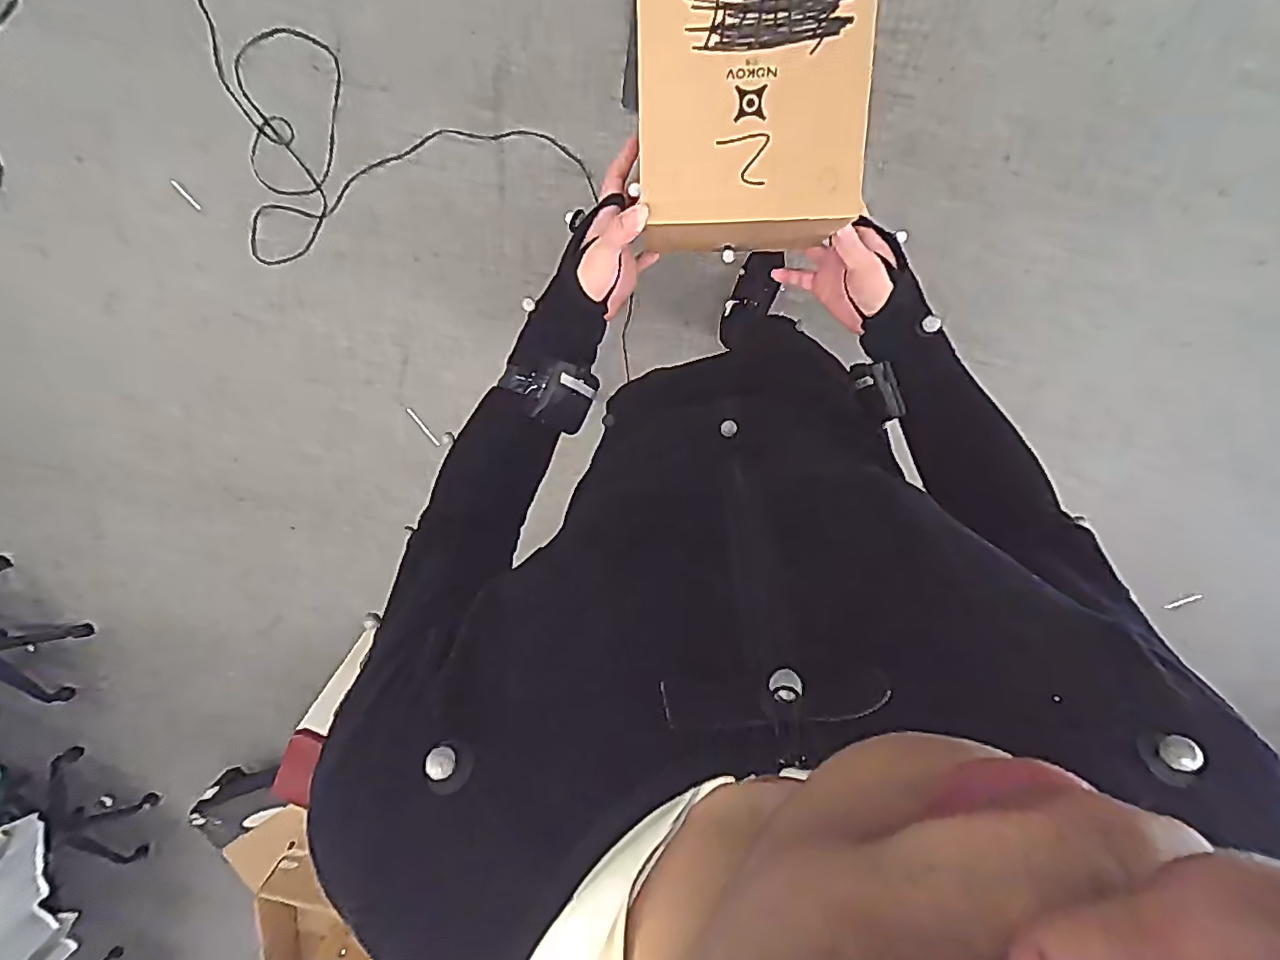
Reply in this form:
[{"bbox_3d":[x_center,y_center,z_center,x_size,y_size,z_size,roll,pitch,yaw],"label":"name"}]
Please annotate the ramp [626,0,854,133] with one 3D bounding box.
[{"bbox_3d":[0.269,-1.310,1.081,0.509,0.206,0.991,8,110,2],"label":"ramp"}]
